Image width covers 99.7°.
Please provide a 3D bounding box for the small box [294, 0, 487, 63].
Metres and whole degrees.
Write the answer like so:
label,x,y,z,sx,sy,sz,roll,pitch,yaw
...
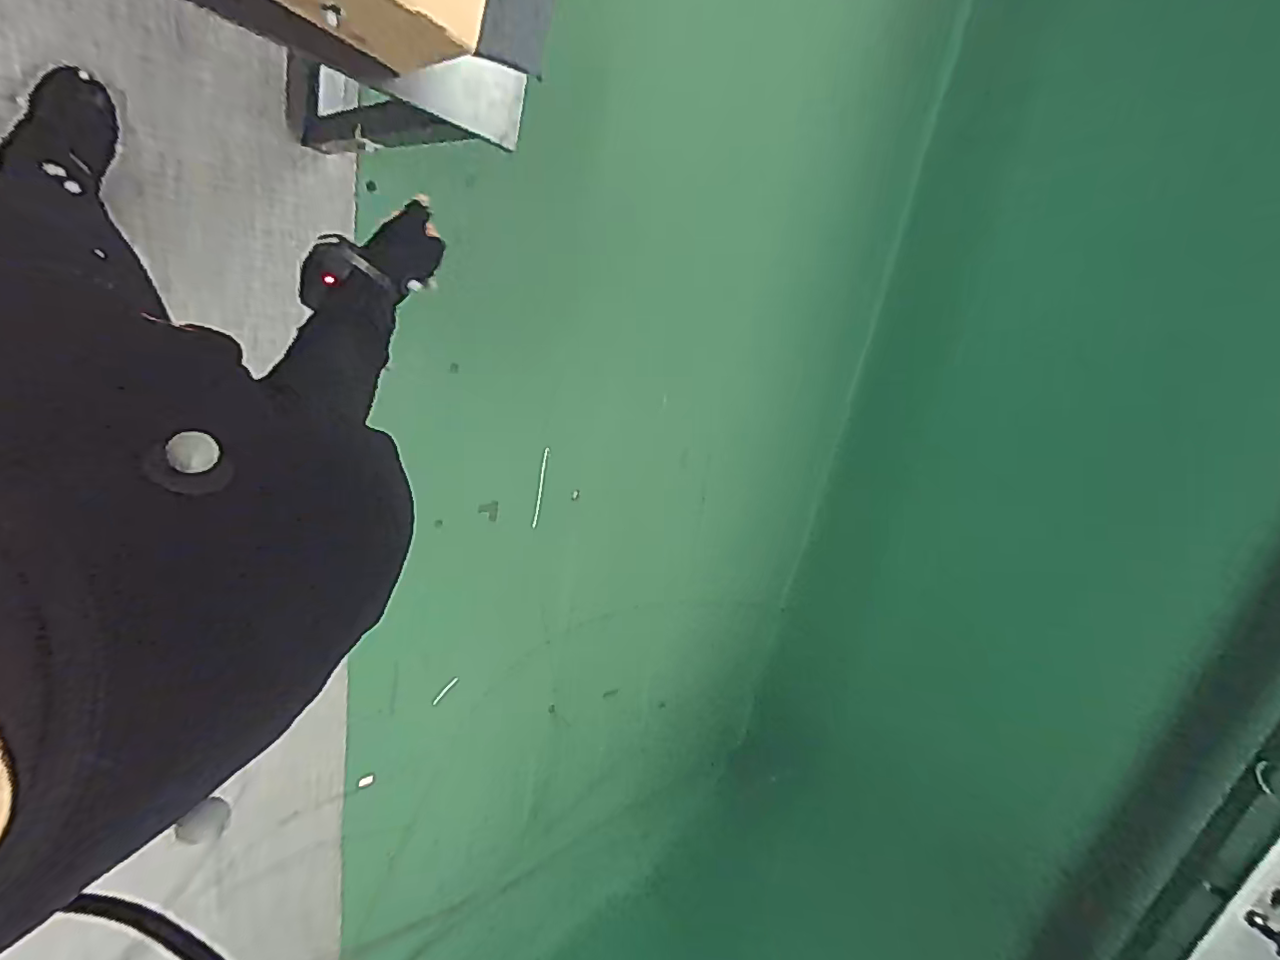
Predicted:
label,x,y,z,sx,sy,sz,roll,pitch,yaw
small box,-0.246,-0.535,0.503,0.168,0.176,0.179,3,110,-49
